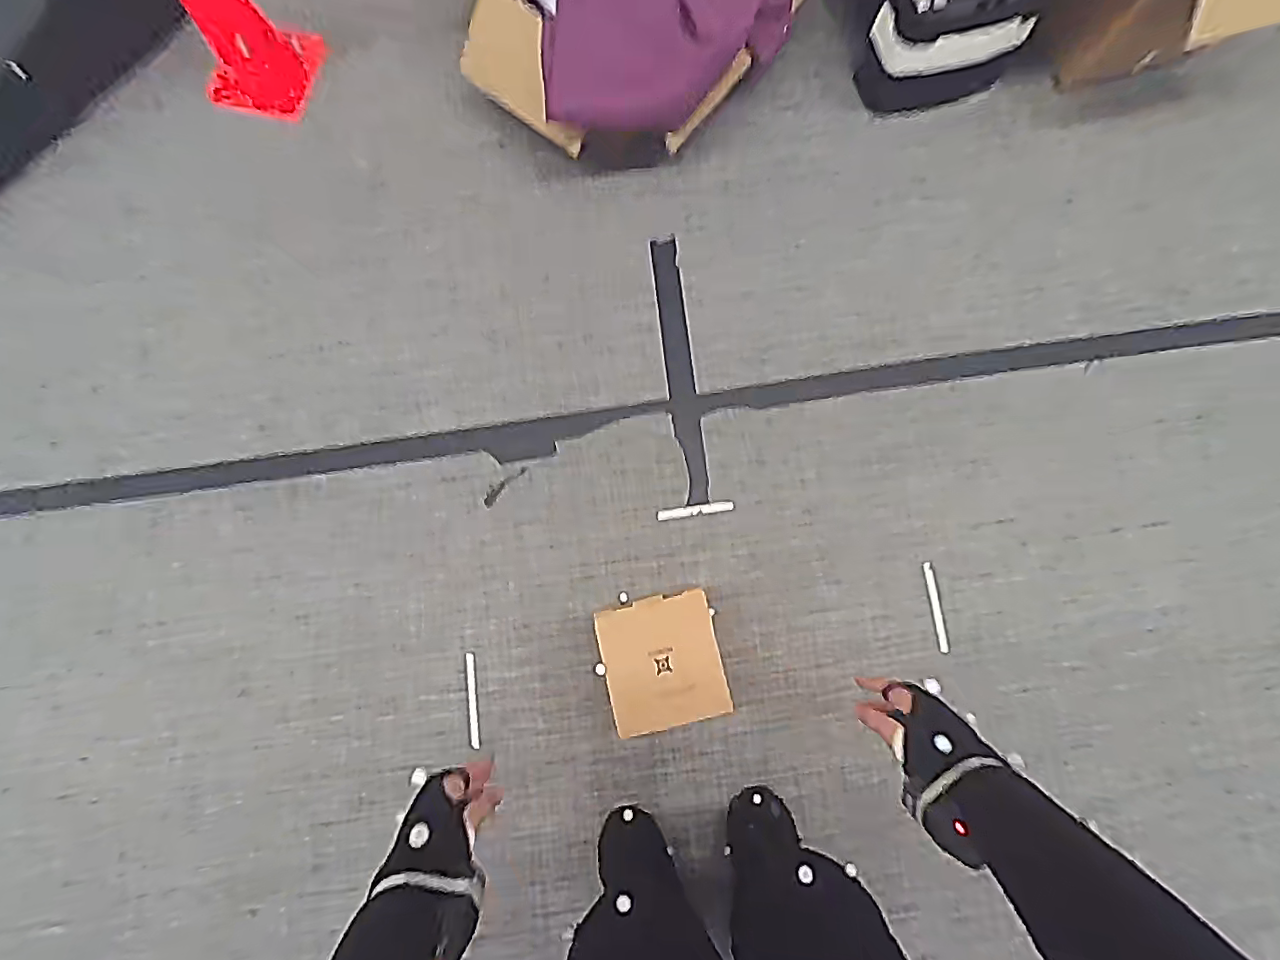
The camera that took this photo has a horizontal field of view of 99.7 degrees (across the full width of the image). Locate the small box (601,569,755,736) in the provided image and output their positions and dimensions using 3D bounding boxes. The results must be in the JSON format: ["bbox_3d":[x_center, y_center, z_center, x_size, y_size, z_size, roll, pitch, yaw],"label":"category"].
[{"bbox_3d":[0.046,0.230,0.763,0.168,0.176,0.179,-14,82,-2],"label":"small box"}]
